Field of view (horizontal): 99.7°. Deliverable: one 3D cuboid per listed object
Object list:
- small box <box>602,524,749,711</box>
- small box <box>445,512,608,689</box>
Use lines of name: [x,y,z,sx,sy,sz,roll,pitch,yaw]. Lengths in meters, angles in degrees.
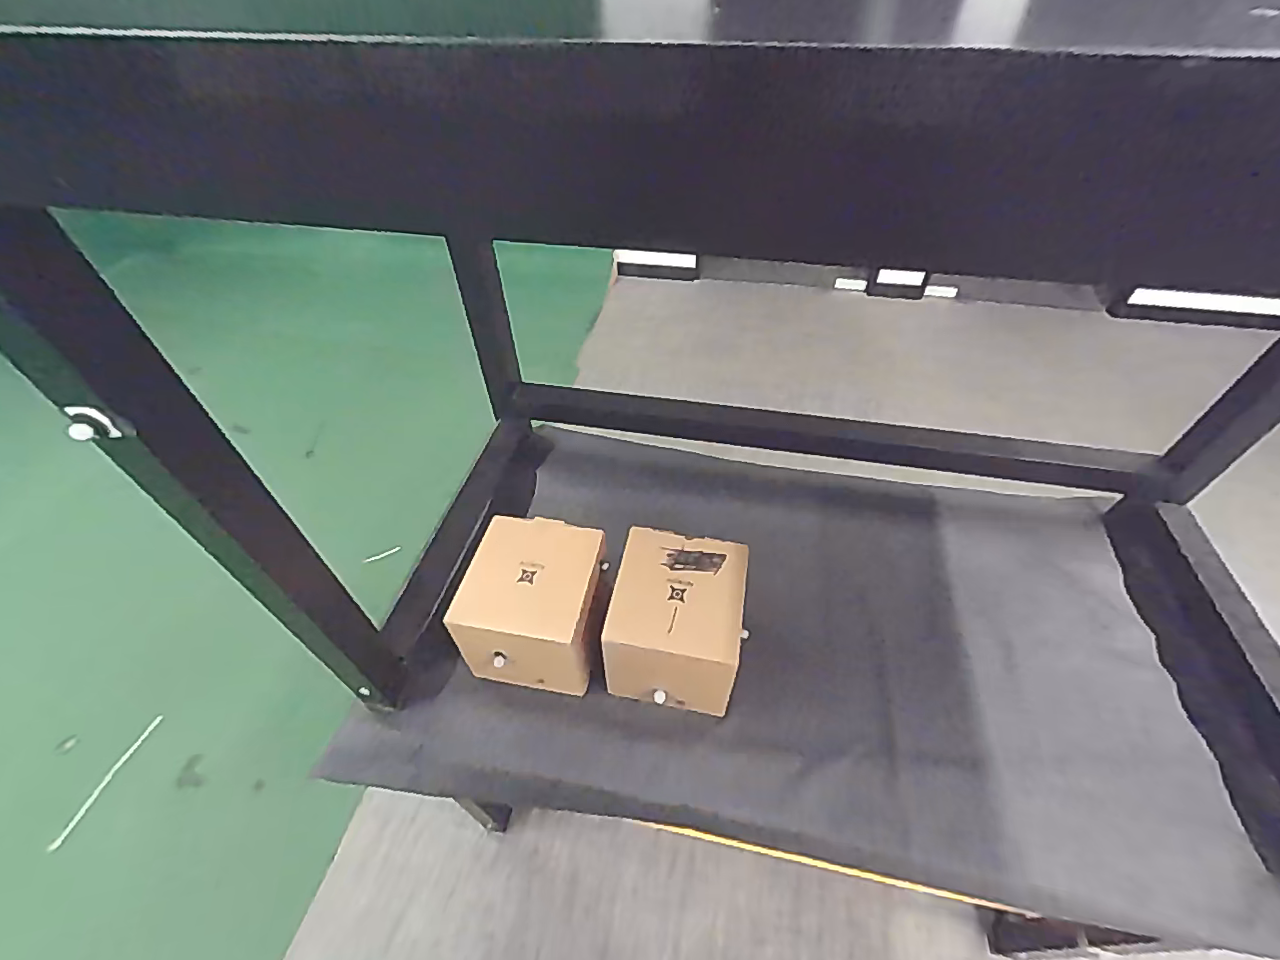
small box: [0.052,0.188,0.744,0.168,0.176,0.179,8,48,9]
small box: [-0.143,0.172,0.764,0.168,0.176,0.179,8,47,8]
